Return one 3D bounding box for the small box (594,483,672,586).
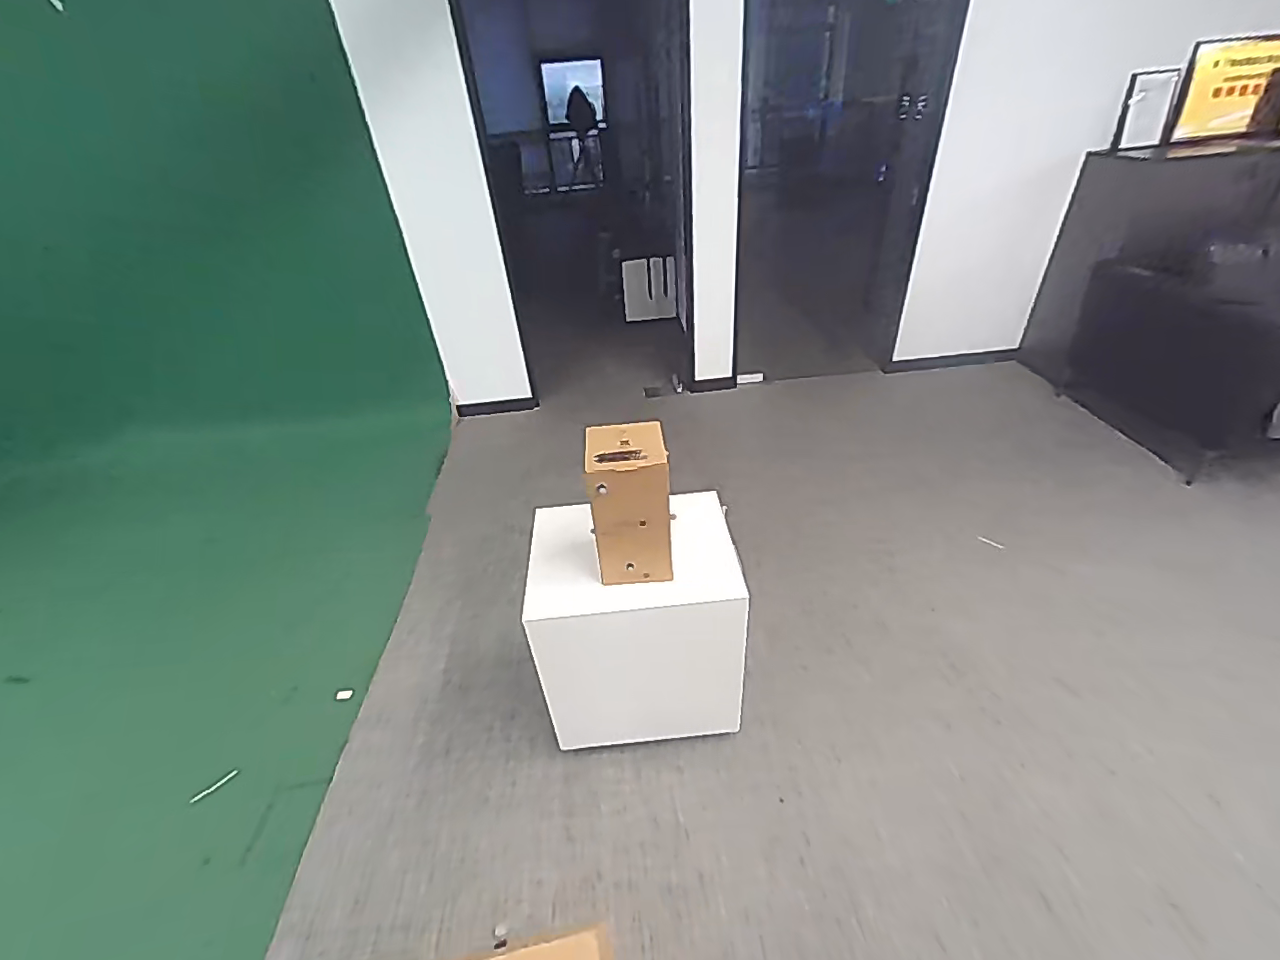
[{"bbox_3d":[-0.015,0.126,1.267,0.168,0.176,0.179,-5,34,1],"label":"small box"}]
